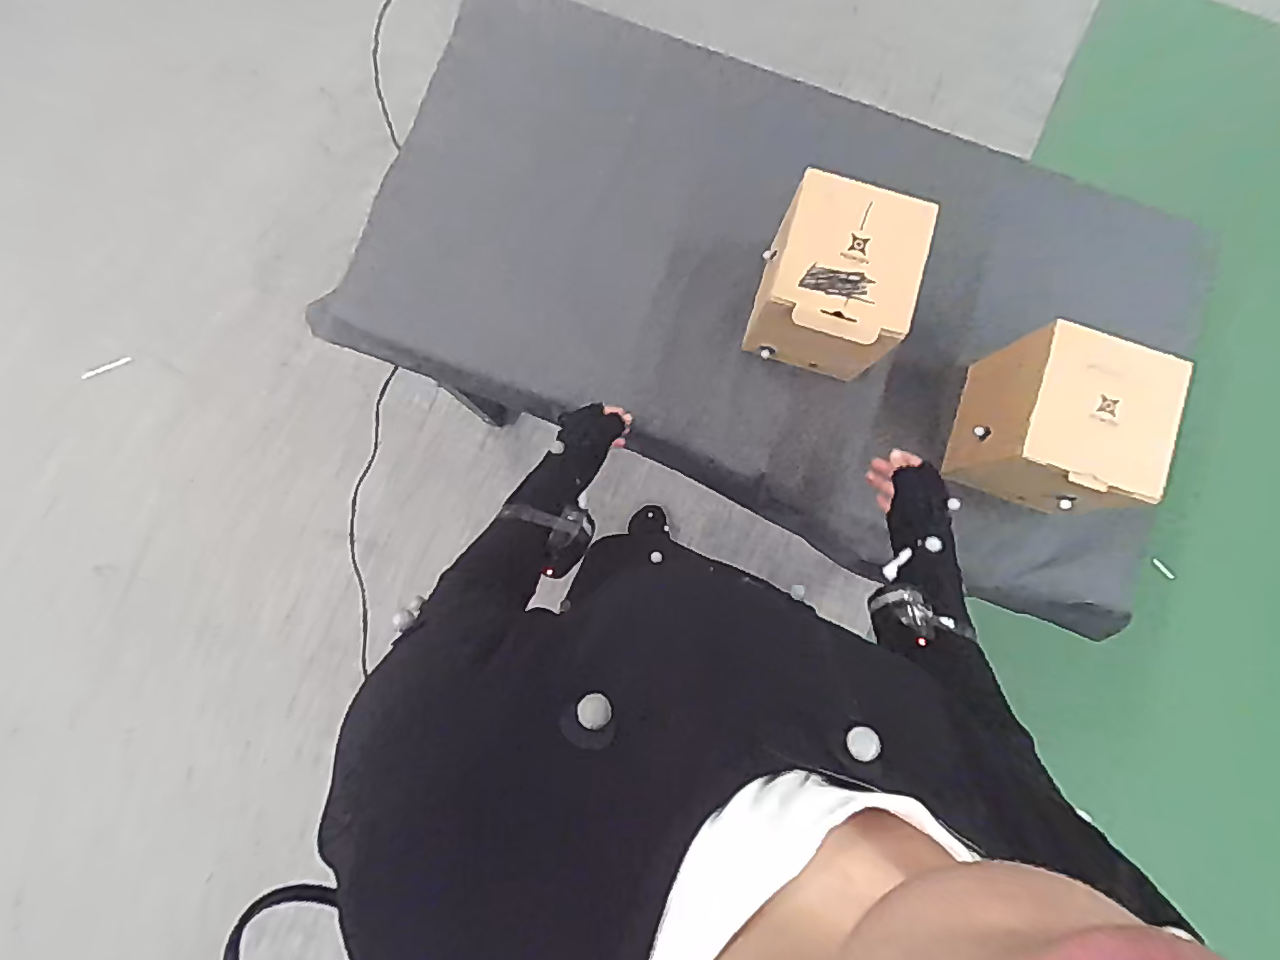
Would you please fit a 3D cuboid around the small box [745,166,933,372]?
[{"bbox_3d":[0.247,-0.263,0.717,0.168,0.176,0.179,17,83,1],"label":"small box"}]

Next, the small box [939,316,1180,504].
[{"bbox_3d":[0.524,-0.076,0.701,0.168,0.176,0.179,19,82,1],"label":"small box"}]
